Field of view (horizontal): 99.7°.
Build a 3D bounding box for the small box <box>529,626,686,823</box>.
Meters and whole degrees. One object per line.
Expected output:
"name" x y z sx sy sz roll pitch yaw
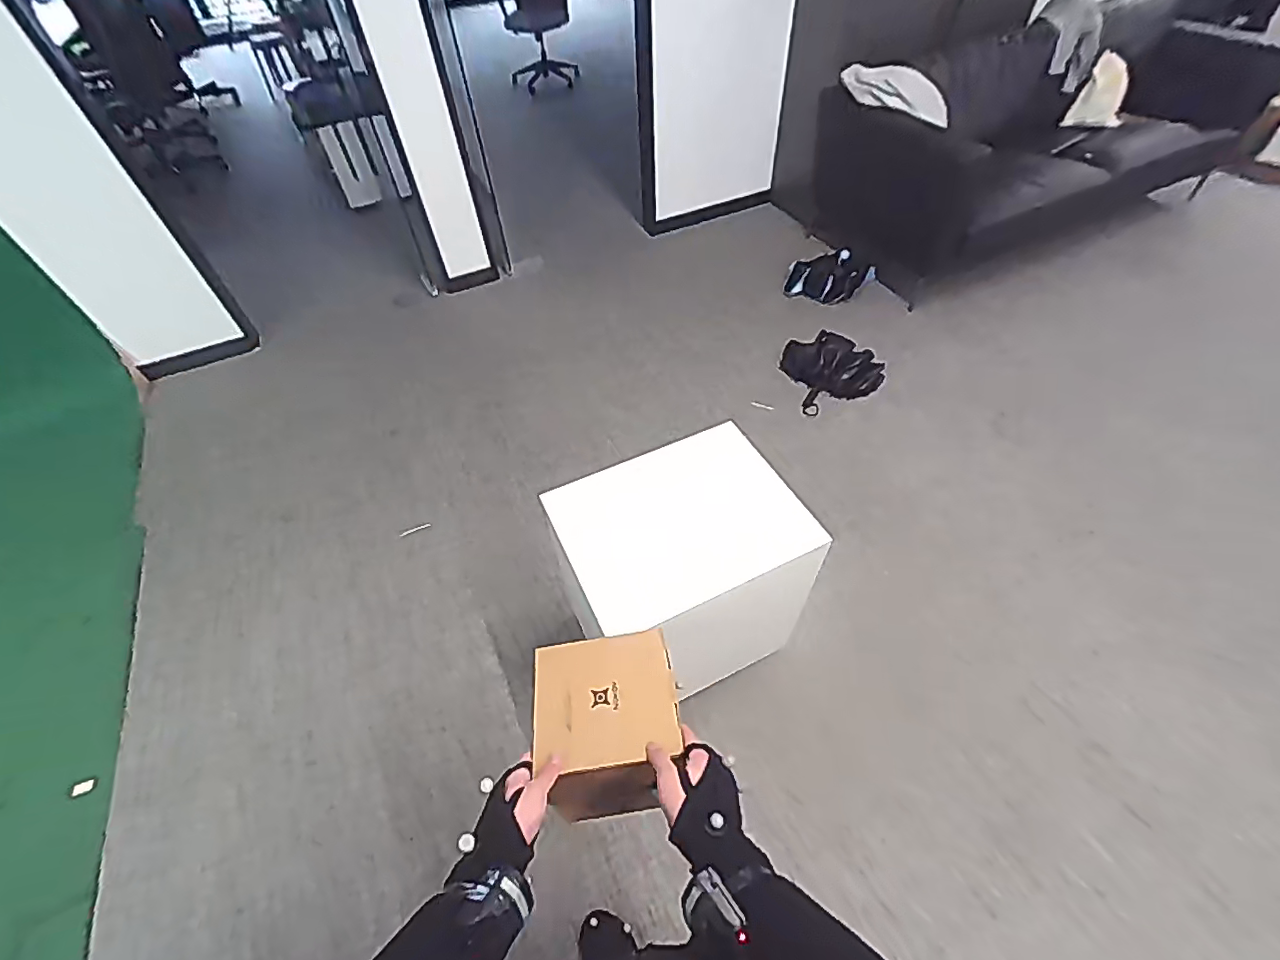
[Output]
"small box" -0.037 0.317 0.701 0.179 0.176 0.168 -10 41 -1
